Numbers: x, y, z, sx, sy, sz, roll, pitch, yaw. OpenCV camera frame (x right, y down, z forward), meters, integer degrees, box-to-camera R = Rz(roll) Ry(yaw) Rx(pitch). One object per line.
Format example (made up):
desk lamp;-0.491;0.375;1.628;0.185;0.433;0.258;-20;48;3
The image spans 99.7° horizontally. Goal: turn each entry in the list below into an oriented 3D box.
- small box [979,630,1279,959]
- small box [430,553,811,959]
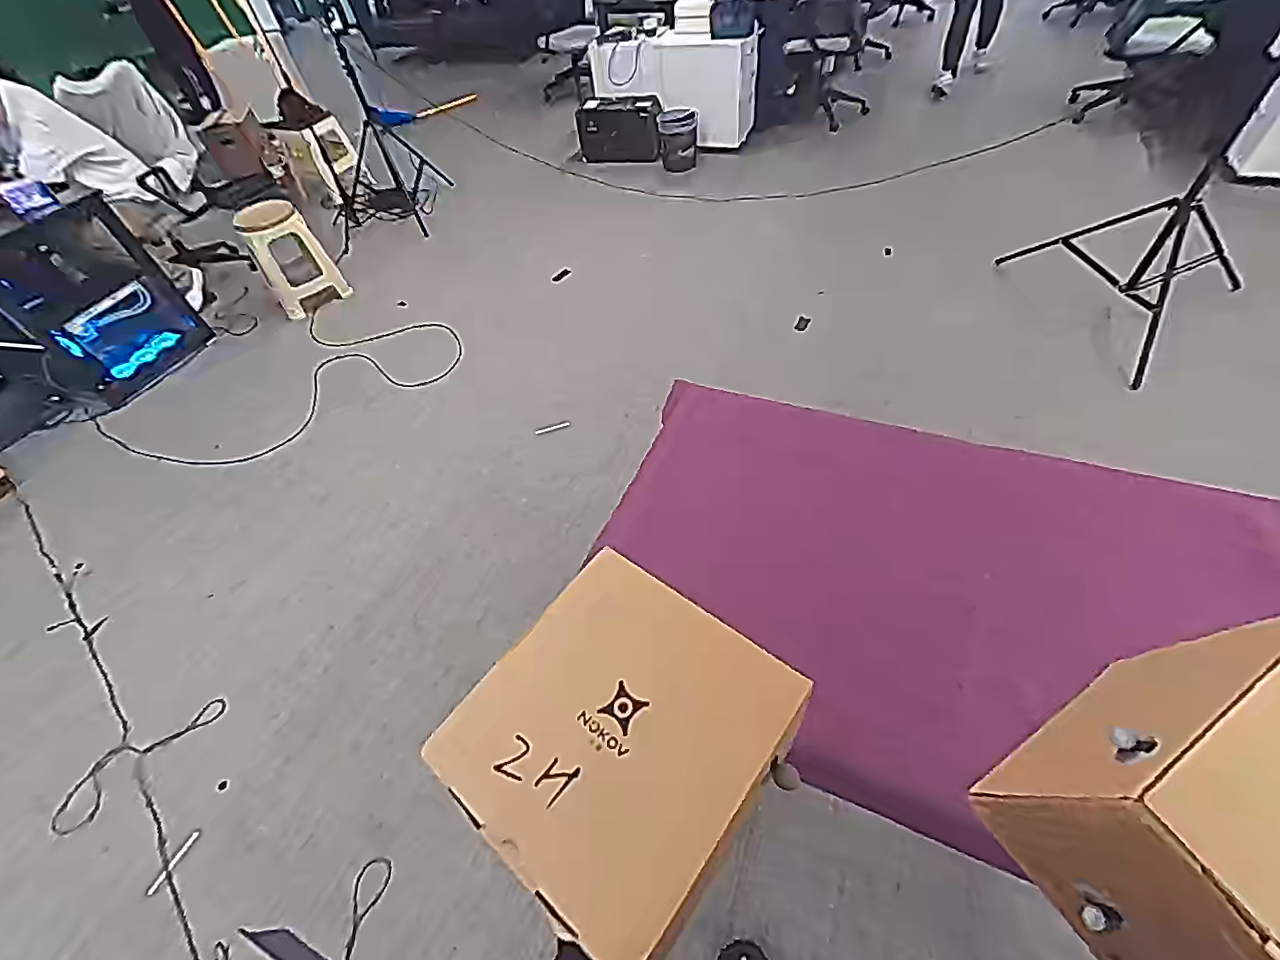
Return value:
small box;0.348;0.207;0.310;0.179;0.176;0.168;-30;64;-13
small box;-0.003;0.191;0.384;0.168;0.176;0.179;29;63;28
